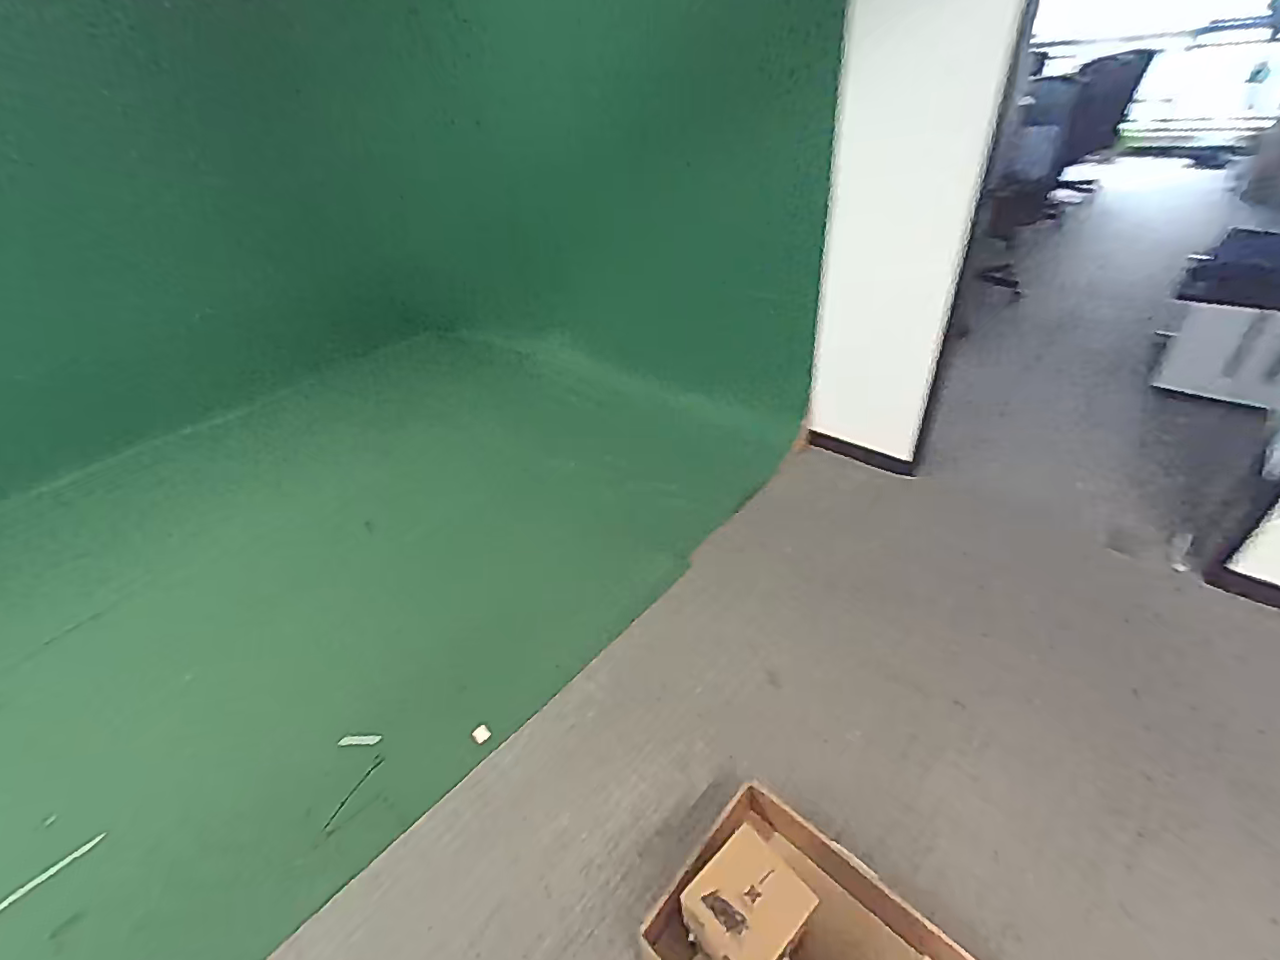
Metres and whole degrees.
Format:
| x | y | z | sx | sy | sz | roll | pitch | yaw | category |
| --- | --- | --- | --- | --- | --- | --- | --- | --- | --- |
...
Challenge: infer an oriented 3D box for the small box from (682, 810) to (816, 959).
| x | y | z | sx | sy | sz | roll | pitch | yaw | category |
| --- | --- | --- | --- | --- | --- | --- | --- | --- | --- |
| 0.198 | 0.765 | 0.992 | 0.179 | 0.176 | 0.168 | -31 | 45 | -27 | small box |

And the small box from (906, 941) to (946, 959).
| x | y | z | sx | sy | sz | roll | pitch | yaw | category |
| --- | --- | --- | --- | --- | --- | --- | --- | --- | --- |
| 0.389 | 0.767 | 0.703 | 0.179 | 0.176 | 0.168 | -35 | 45 | -29 | small box |
